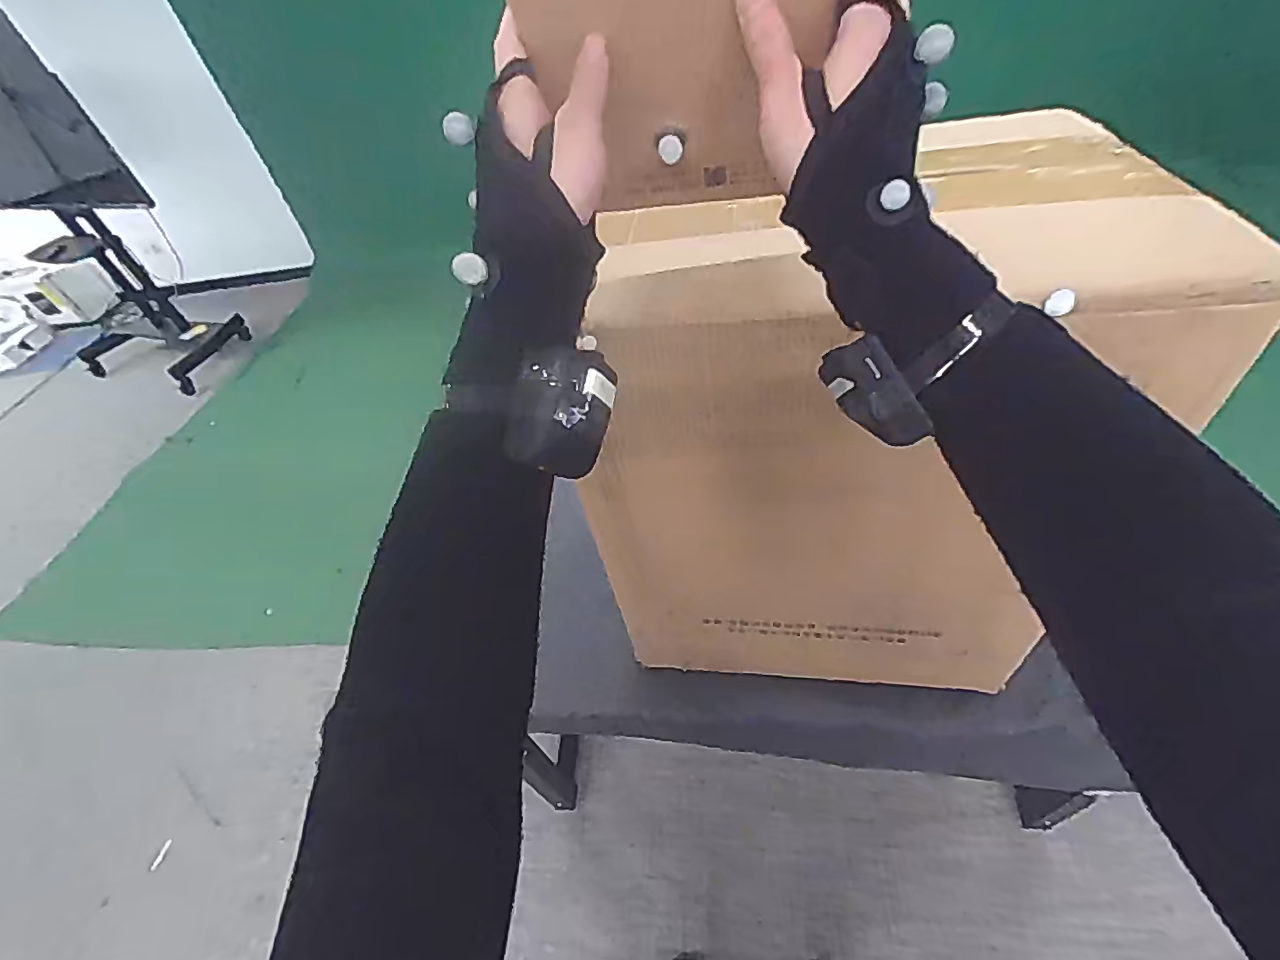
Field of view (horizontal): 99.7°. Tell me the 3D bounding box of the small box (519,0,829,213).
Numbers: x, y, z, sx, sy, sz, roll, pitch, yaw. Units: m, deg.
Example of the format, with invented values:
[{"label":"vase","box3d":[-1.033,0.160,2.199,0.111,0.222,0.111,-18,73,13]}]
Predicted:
[{"label":"small box","box3d":[0.022,-0.306,0.346,0.168,0.176,0.179,-2,67,8]}]
